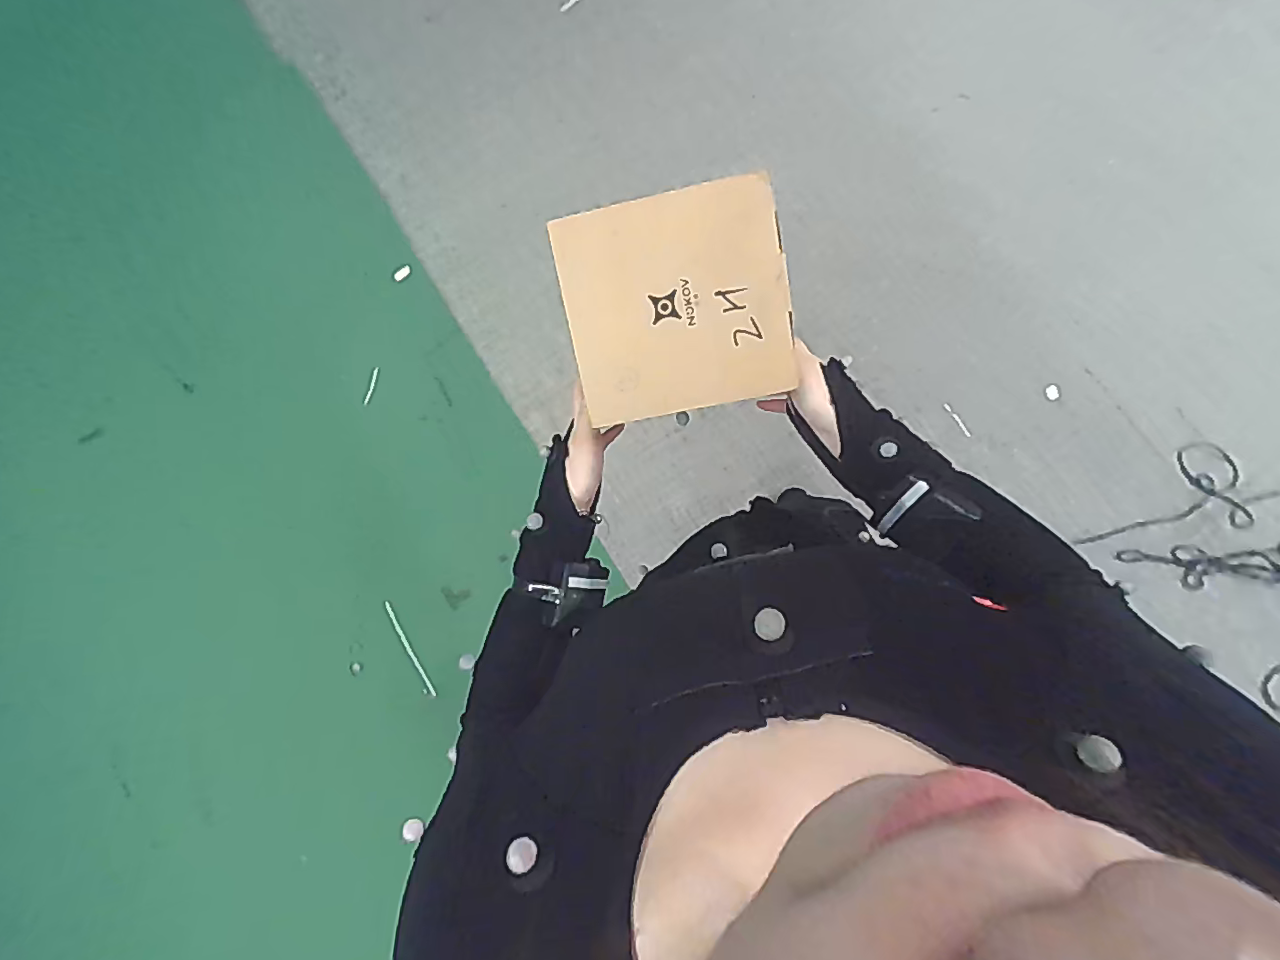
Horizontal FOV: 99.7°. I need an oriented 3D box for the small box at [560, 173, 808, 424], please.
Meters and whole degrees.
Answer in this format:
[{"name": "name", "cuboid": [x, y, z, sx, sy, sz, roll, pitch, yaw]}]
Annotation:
[{"name": "small box", "cuboid": [0.042, -0.153, 0.499, 0.179, 0.176, 0.168, -9, 103, 6]}]
